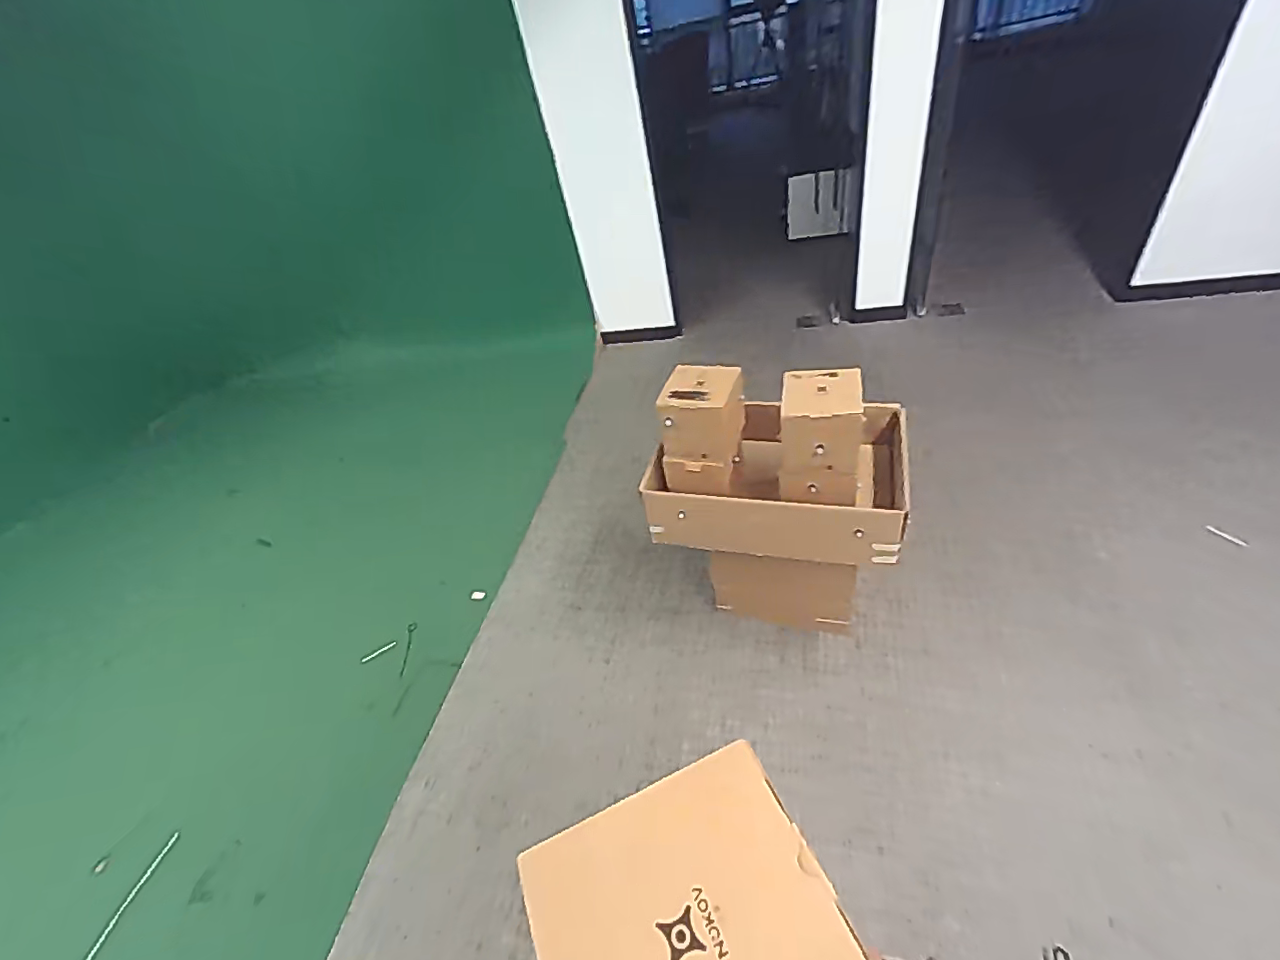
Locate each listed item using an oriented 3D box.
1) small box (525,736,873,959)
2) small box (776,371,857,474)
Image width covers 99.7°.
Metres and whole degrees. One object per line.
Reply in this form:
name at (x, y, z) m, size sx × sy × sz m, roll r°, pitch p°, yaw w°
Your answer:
small box at (0.041, 0.322, 0.374) m, size 0.179 × 0.176 × 0.168 m, roll -21°, pitch 43°, yaw -11°
small box at (0.405, -0.128, 1.234) m, size 0.168 × 0.176 × 0.179 m, roll 2°, pitch 44°, yaw 18°
